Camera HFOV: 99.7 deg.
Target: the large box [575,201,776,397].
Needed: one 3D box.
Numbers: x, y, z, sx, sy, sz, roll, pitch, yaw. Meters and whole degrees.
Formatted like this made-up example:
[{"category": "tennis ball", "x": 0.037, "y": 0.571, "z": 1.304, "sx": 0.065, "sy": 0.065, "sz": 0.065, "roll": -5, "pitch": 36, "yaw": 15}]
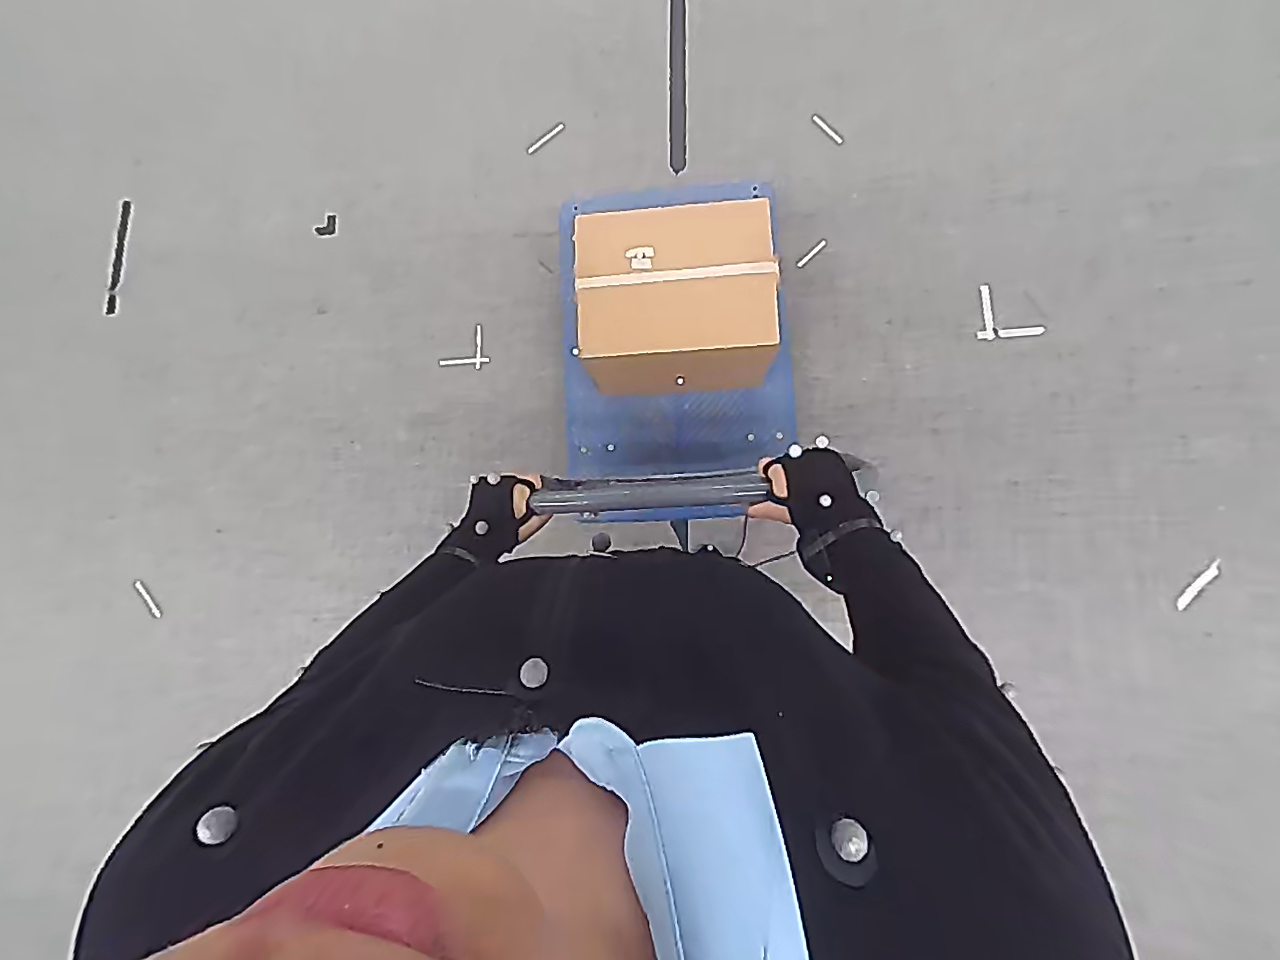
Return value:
[{"category": "large box", "x": 0.085, "y": -0.393, "z": 1.260, "sx": 0.408, "sy": 0.320, "sz": 0.320, "roll": -3, "pitch": 82, "yaw": 6}]
